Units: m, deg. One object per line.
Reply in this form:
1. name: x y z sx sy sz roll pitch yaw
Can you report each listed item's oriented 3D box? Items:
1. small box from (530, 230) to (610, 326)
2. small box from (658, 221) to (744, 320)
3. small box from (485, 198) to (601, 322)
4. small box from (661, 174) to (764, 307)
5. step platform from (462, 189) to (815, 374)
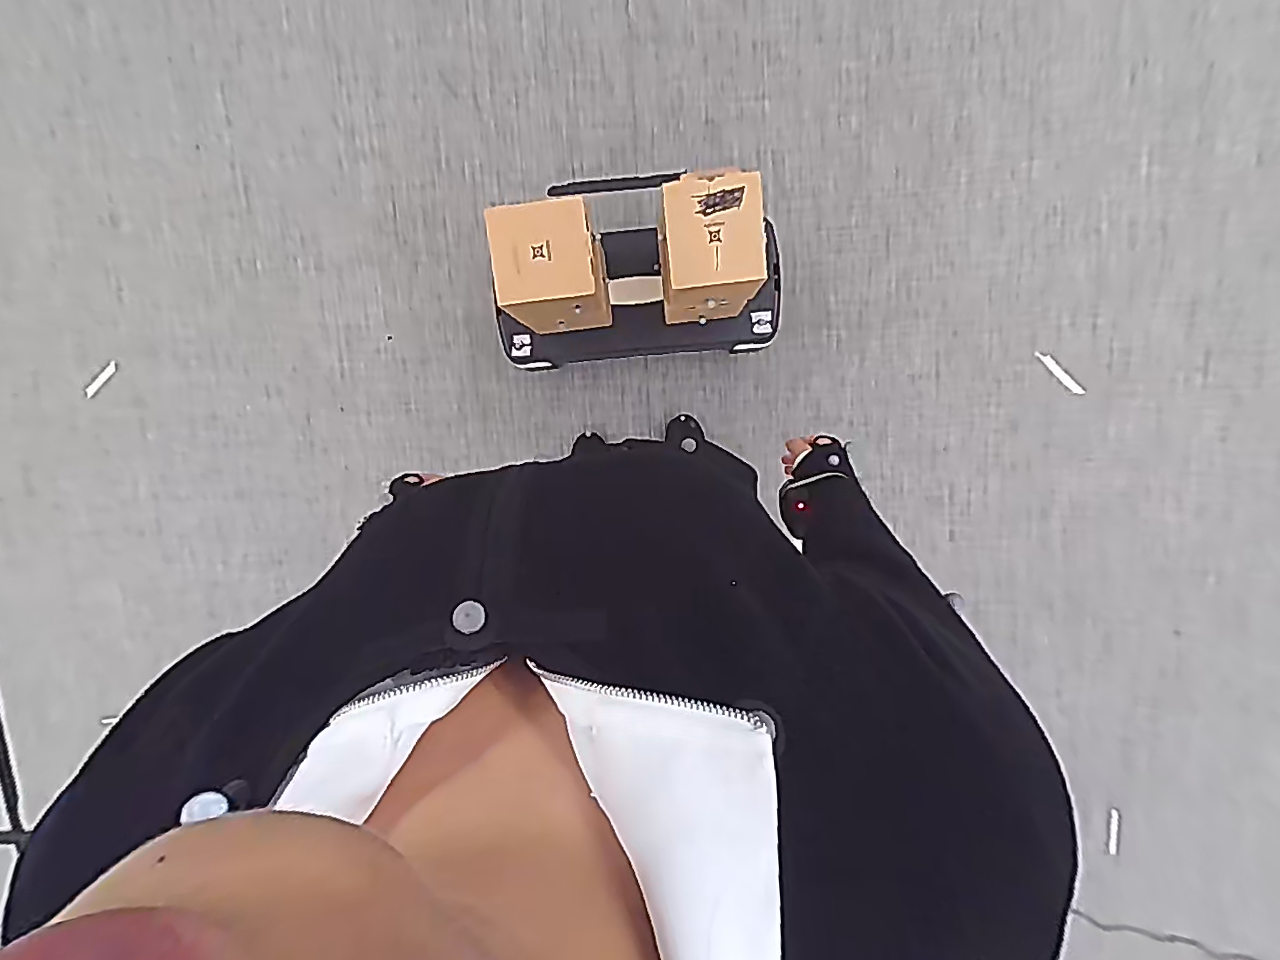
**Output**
1. small box: -0.164 -0.422 1.175 0.179 0.176 0.168 -6 97 3
2. small box: 0.125 -0.446 1.161 0.168 0.176 0.179 -5 97 4
3. small box: -0.170 -0.401 1.013 0.179 0.176 0.168 -7 96 3
4. small box: 0.128 -0.430 0.997 0.168 0.176 0.179 -5 97 3
5. step platform: -0.004 -0.395 1.136 0.684 0.204 0.286 -5 96 2
